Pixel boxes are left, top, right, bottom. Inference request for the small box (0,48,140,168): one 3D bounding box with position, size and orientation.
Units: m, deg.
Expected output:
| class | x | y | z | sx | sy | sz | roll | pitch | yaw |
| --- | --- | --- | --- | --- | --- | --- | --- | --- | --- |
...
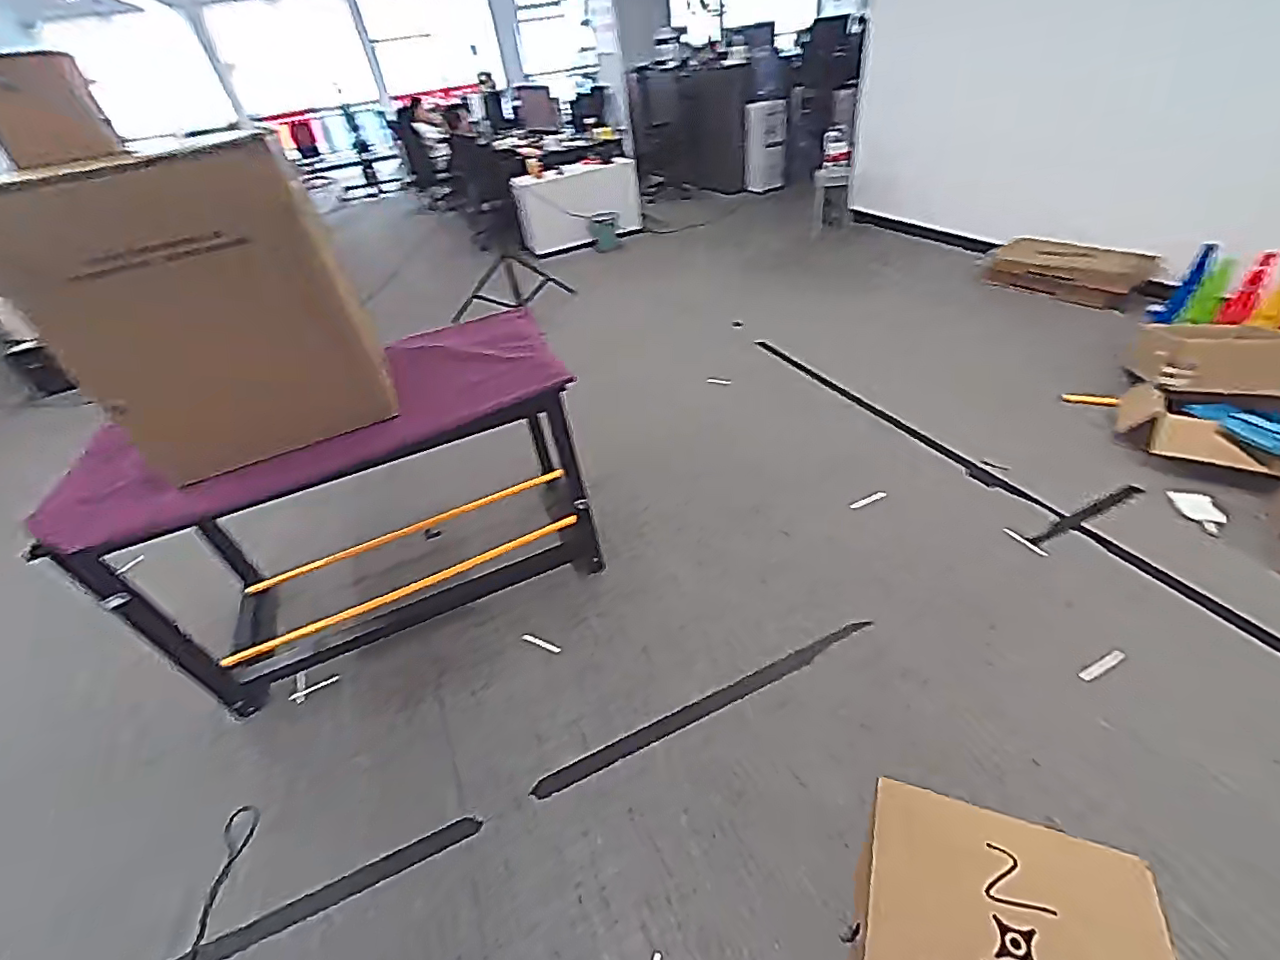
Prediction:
| class | x | y | z | sx | sy | sz | roll | pitch | yaw |
| --- | --- | --- | --- | --- | --- | --- | --- | --- | --- |
| small box | -1.153 | -0.728 | 1.063 | 0.179 | 0.176 | 0.168 | -23 | 41 | -19 |
